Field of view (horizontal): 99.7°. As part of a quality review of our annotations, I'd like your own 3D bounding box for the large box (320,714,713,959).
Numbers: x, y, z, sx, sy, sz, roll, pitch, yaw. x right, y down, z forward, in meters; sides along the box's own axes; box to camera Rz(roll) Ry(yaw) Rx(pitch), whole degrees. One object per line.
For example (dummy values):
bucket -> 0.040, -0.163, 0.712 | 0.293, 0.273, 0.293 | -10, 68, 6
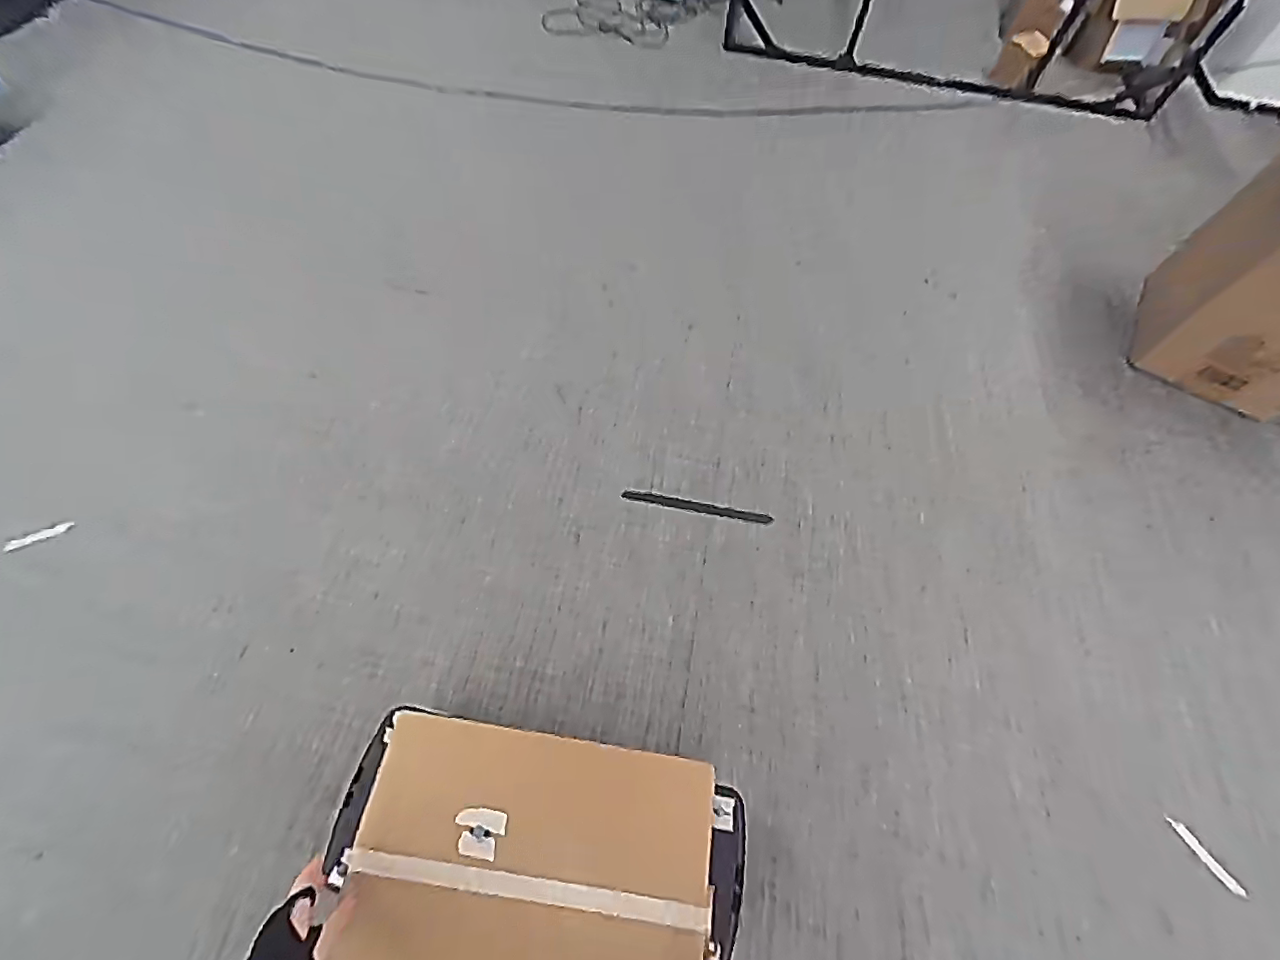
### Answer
large box -> -0.130, 0.524, 0.729 | 0.408, 0.320, 0.320 | 9, 60, 2
